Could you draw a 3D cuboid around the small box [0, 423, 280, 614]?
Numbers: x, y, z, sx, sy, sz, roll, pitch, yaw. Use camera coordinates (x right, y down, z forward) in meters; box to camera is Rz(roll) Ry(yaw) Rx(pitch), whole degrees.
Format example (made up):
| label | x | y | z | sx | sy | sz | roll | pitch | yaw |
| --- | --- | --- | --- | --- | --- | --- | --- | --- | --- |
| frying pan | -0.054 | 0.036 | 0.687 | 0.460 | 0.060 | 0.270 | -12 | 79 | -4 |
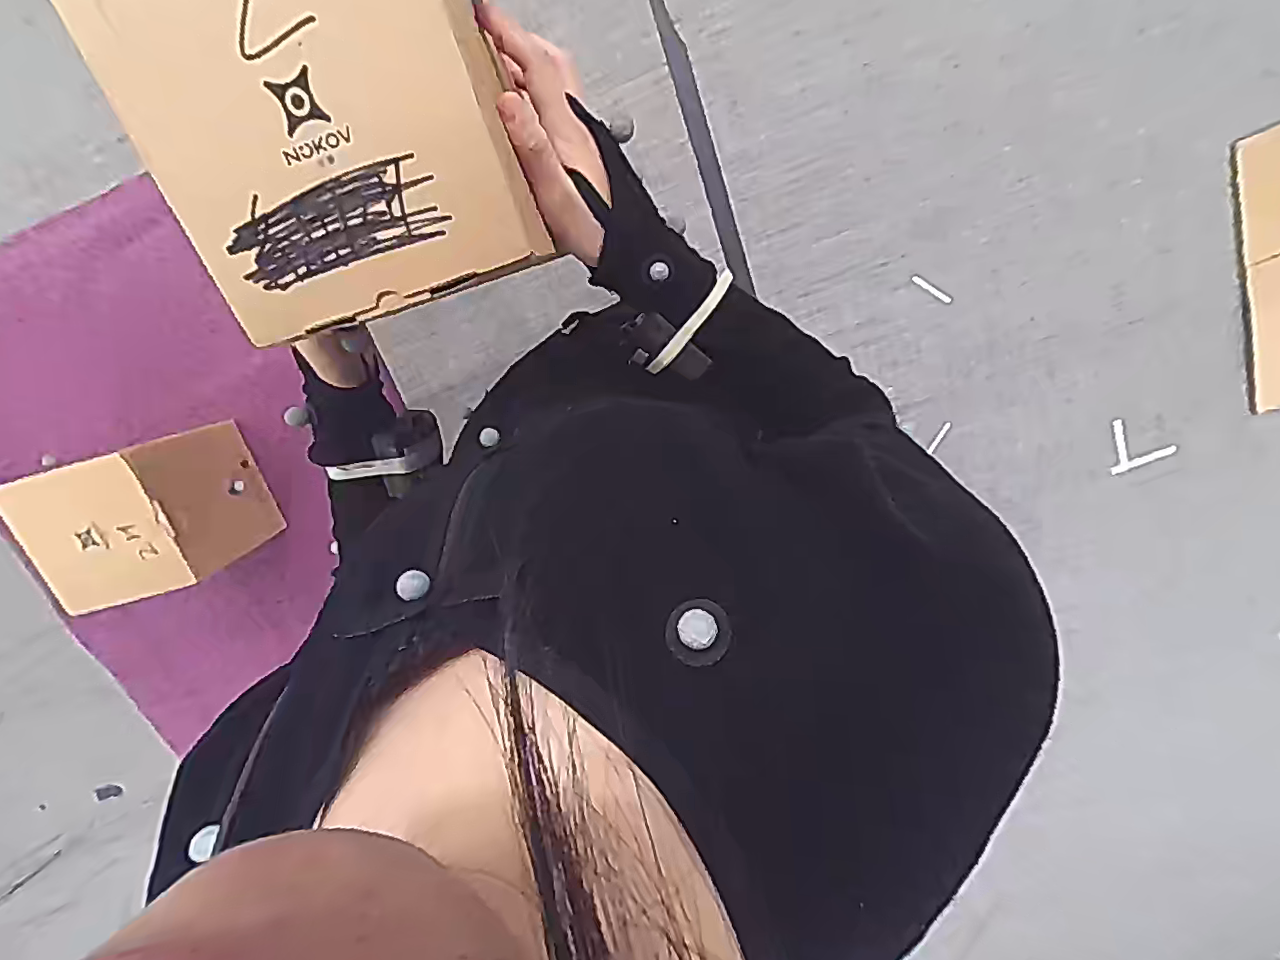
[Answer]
| label | x | y | z | sx | sy | sz | roll | pitch | yaw |
| --- | --- | --- | --- | --- | --- | --- | --- | --- | --- |
| small box | -0.613 | 0.039 | 0.682 | 0.179 | 0.176 | 0.168 | -14 | 108 | 5 |
